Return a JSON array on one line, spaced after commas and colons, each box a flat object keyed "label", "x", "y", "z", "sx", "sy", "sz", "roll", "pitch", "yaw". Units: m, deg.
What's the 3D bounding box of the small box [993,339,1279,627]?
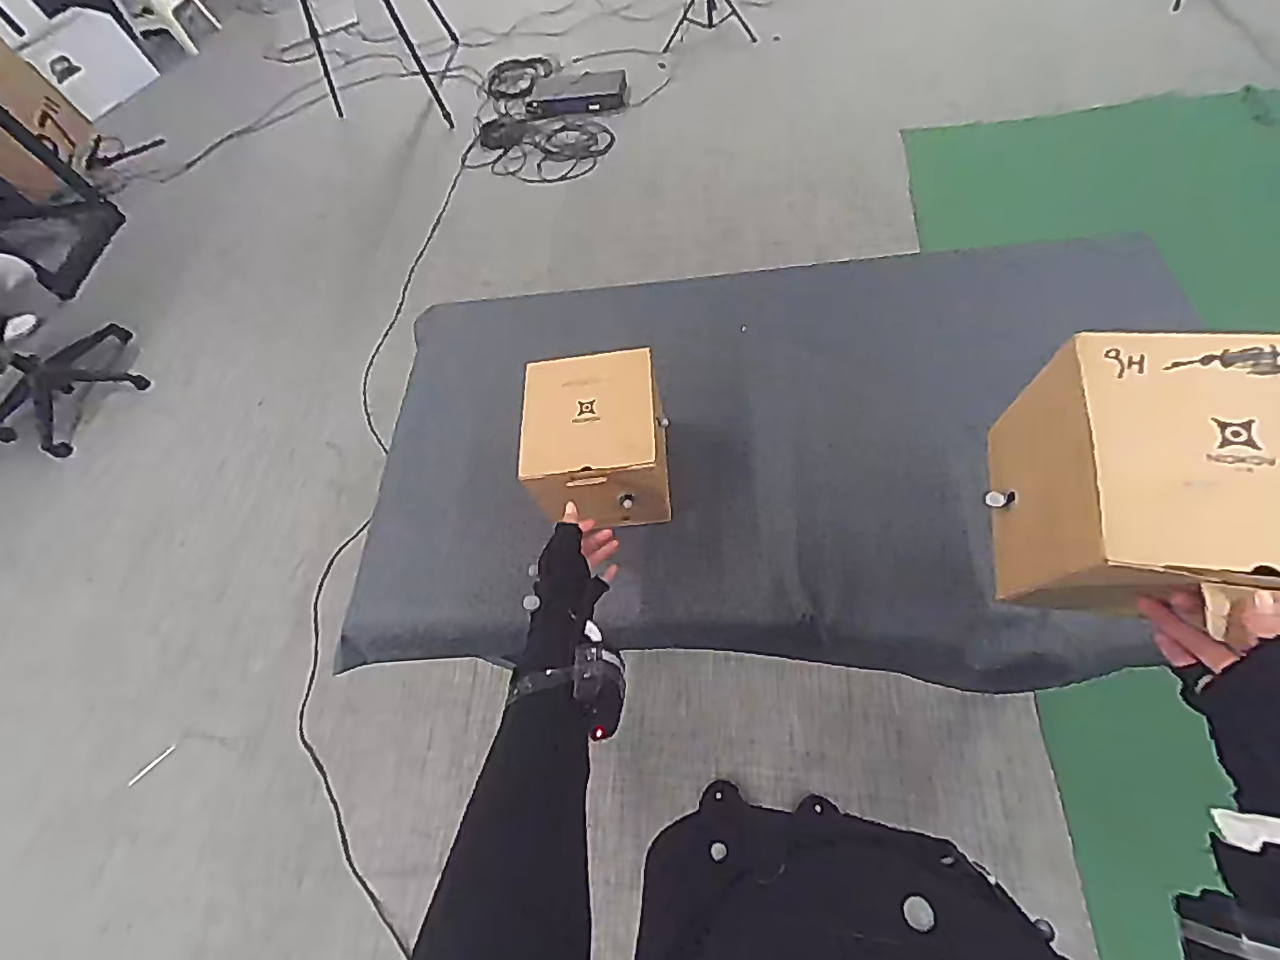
[{"label": "small box", "x": 0.400, "y": 0.012, "z": 0.421, "sx": 0.168, "sy": 0.176, "sz": 0.179, "roll": 5, "pitch": 71, "yaw": 13}]

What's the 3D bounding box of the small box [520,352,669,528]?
[{"label": "small box", "x": -0.052, "y": -0.043, "z": 0.731, "sx": 0.168, "sy": 0.176, "sz": 0.179, "roll": -6, "pitch": 60, "yaw": 5}]
